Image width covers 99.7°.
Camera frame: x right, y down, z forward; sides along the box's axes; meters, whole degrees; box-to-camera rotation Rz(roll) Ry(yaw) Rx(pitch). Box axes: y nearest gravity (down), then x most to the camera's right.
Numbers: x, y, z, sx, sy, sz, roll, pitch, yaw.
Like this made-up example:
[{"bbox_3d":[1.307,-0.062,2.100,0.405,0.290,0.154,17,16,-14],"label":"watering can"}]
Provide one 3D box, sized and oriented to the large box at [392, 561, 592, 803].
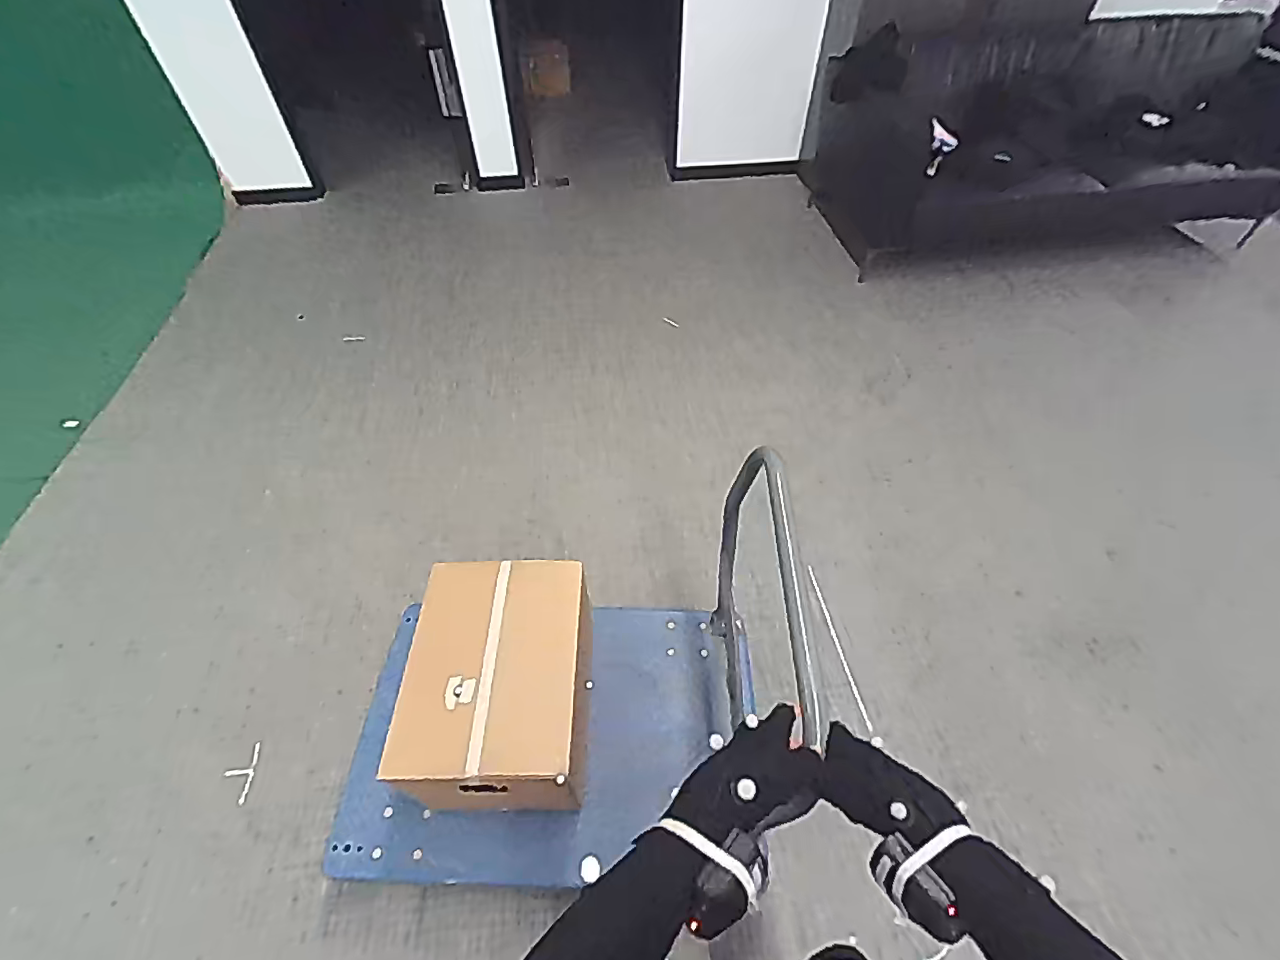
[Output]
[{"bbox_3d":[-0.262,0.416,1.121,0.320,0.320,0.408,0,51,0],"label":"large box"}]
